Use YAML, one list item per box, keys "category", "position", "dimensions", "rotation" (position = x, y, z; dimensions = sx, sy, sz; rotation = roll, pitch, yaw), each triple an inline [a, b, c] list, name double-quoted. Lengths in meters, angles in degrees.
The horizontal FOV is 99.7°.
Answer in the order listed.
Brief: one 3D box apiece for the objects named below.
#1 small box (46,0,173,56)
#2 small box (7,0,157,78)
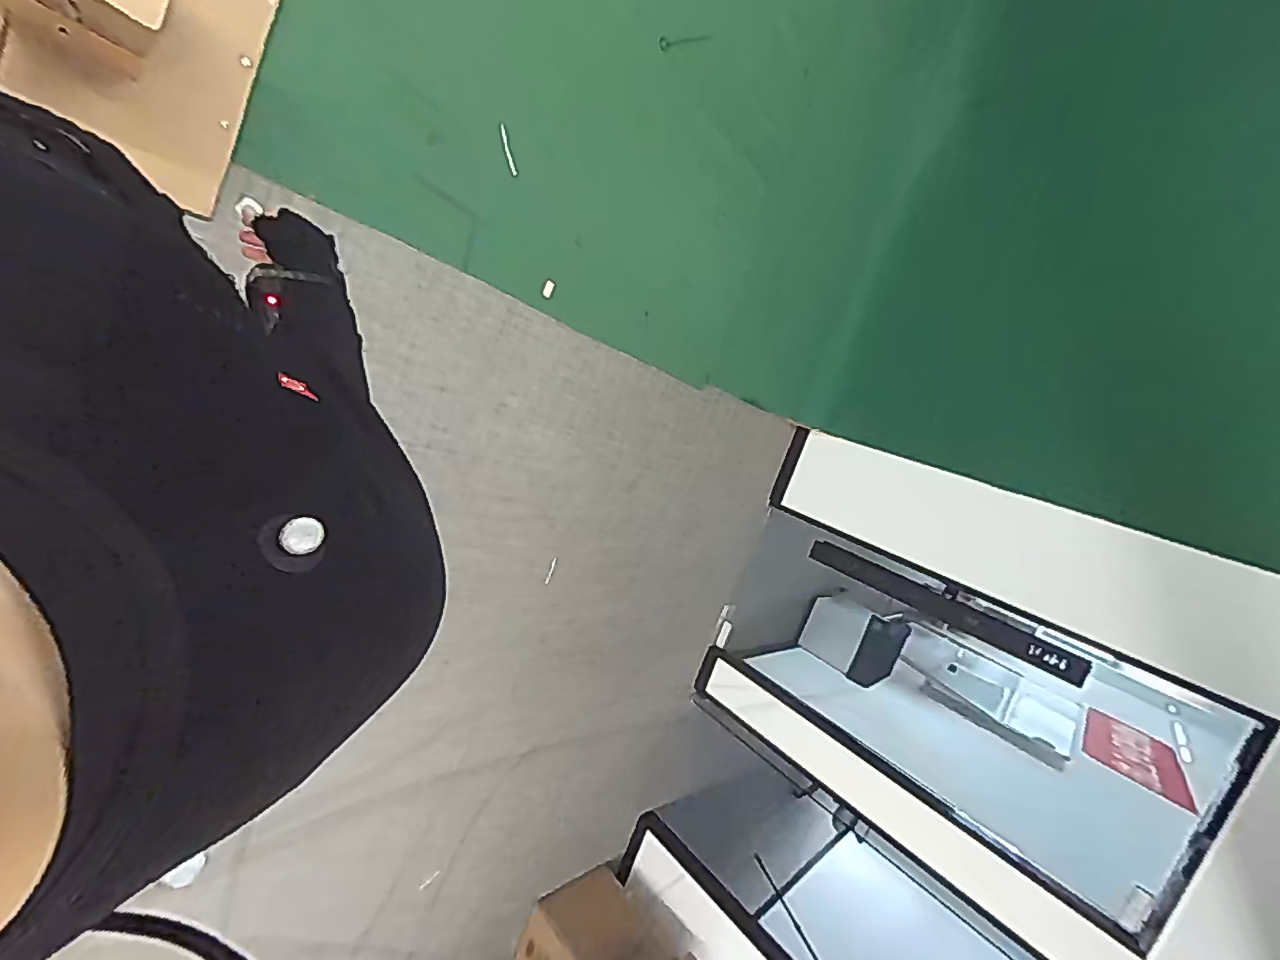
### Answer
- category: "small box"
  position: [-0.735, -0.727, 0.729]
  dimensions: [0.168, 0.176, 0.179]
  rotation: [17, 97, -48]
- category: "small box"
  position: [-0.852, -0.772, 0.838]
  dimensions: [0.168, 0.176, 0.179]
  rotation: [13, 101, -48]
